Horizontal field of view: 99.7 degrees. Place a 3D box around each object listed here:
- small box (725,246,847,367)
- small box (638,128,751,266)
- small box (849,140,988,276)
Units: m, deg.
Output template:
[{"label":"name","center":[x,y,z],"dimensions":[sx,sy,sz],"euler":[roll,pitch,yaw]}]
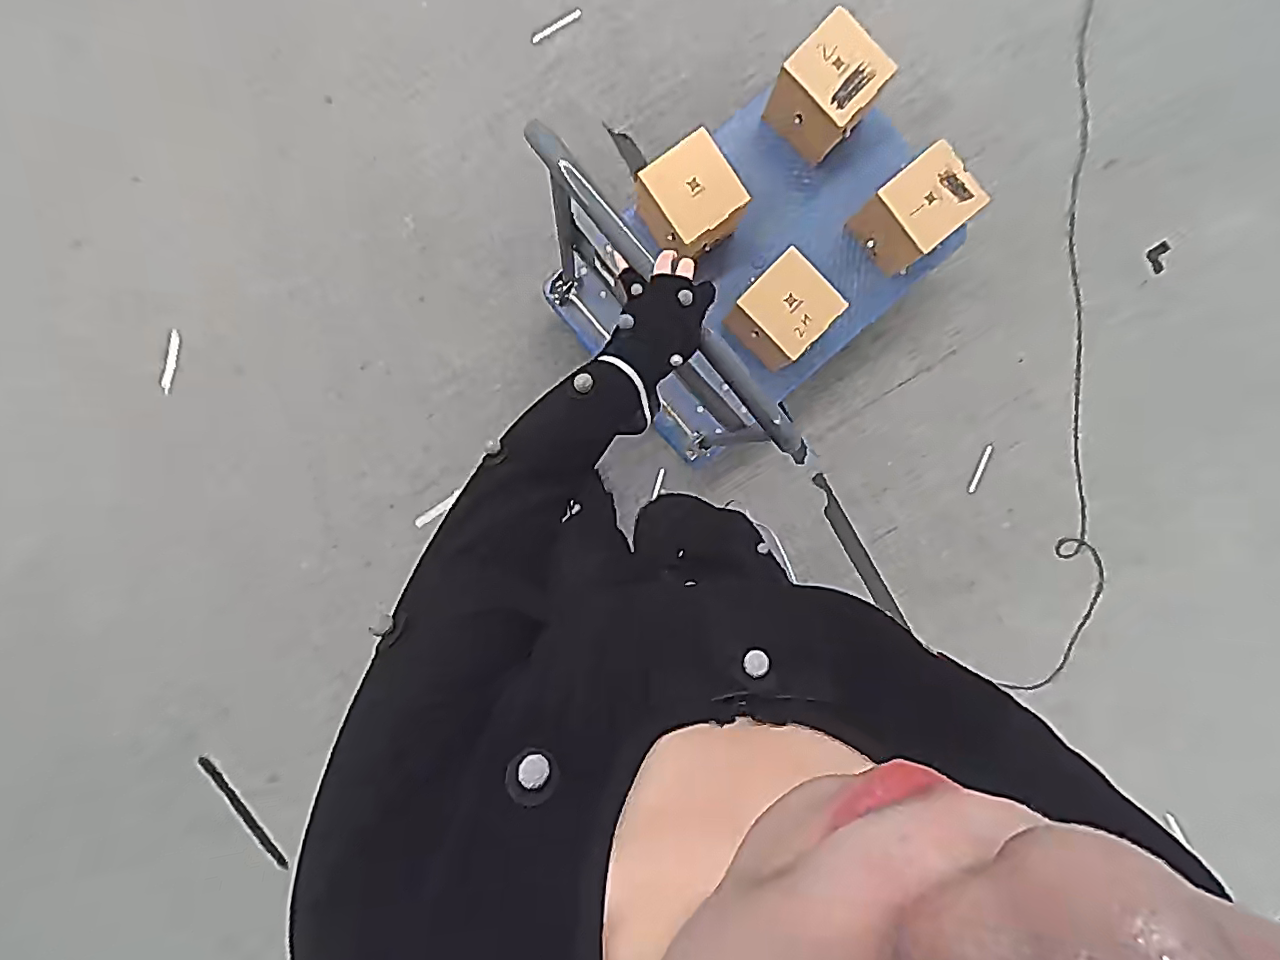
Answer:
[{"label":"small box","center":[0.312,-0.371,1.197],"dimensions":[0.168,0.176,0.179],"euler":[-45,95,2]},{"label":"small box","center":[0.108,-0.601,1.173],"dimensions":[0.168,0.176,0.179],"euler":[-36,96,0]},{"label":"small box","center":[0.601,-0.587,1.191],"dimensions":[0.179,0.176,0.168],"euler":[-39,94,2]}]
